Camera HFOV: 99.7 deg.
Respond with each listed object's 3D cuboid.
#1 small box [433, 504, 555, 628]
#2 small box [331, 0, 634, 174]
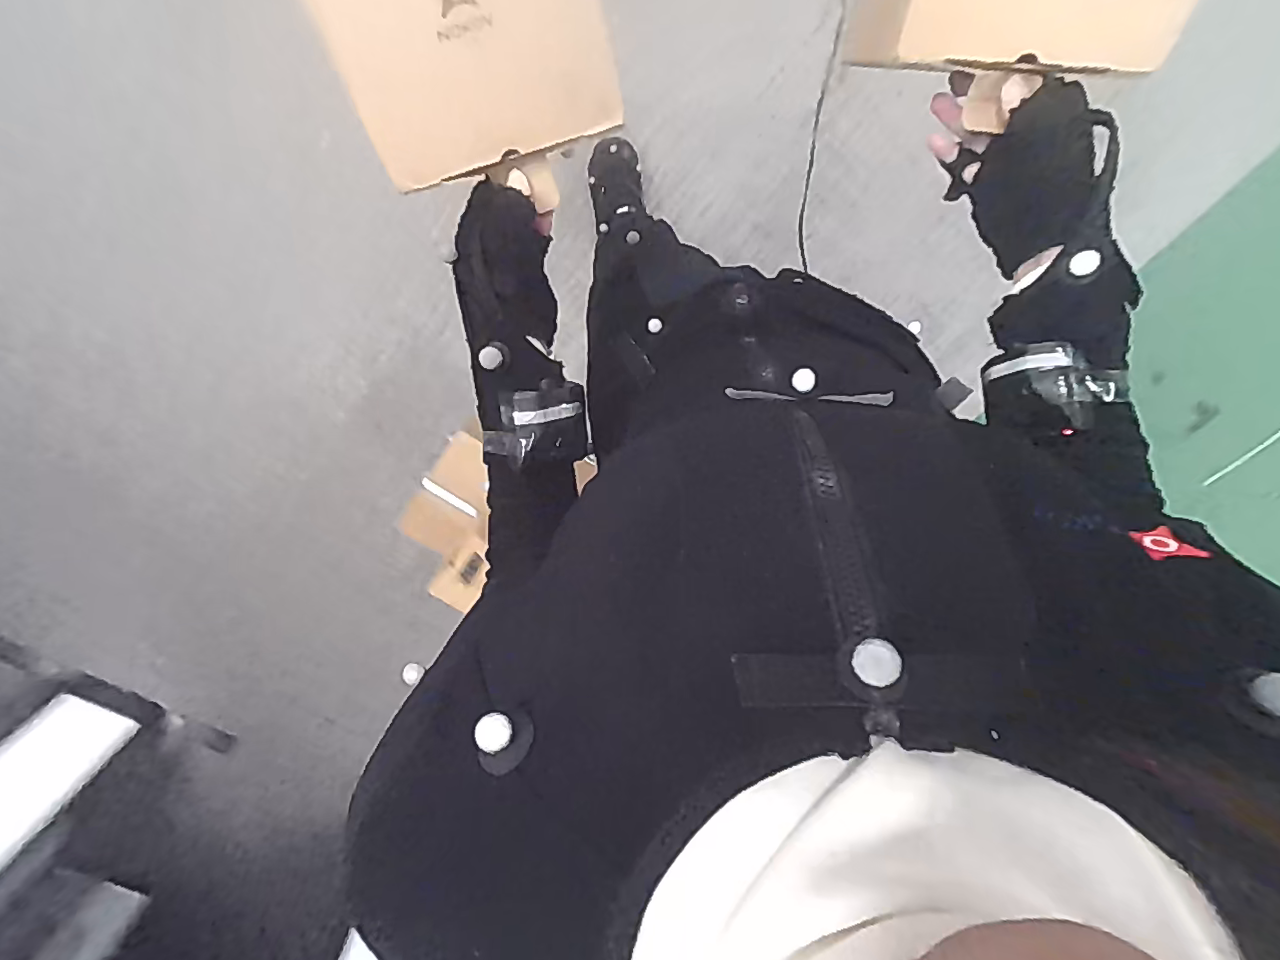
[{"bbox_3d":[-0.305,0.174,1.167,0.179,0.176,0.168,41,107,-18],"label":"small box"},{"bbox_3d":[-0.108,-0.342,0.375,0.168,0.176,0.179,-15,127,2],"label":"small box"}]
